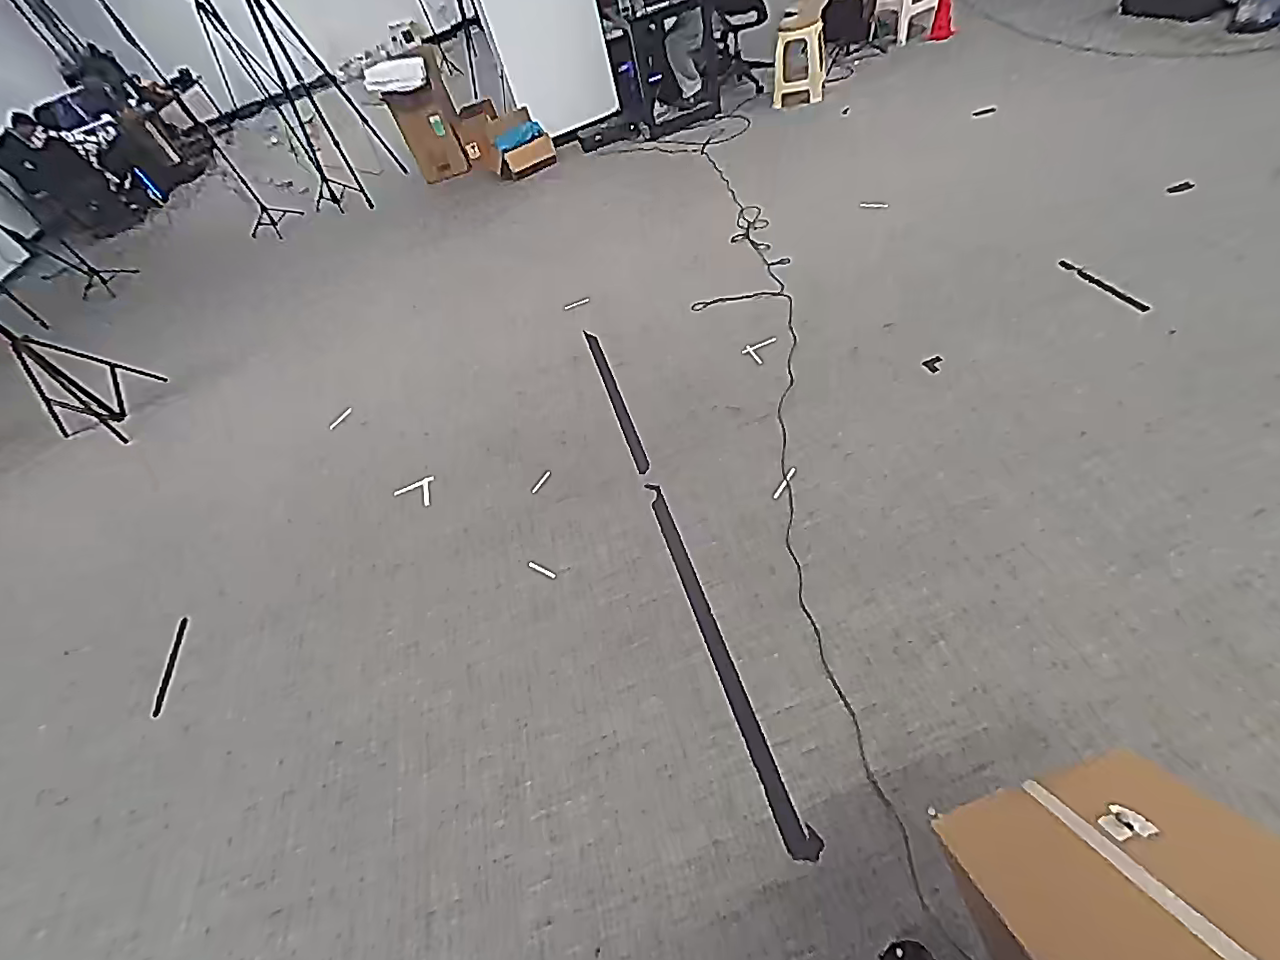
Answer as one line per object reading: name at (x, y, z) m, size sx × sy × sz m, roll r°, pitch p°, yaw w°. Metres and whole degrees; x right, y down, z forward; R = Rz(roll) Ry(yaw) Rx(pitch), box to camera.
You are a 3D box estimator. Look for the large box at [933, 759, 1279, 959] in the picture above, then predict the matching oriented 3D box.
large box at (0.634, 0.607, 0.616) m, size 0.320 × 0.408 × 0.320 m, roll -22°, pitch 86°, yaw 3°
